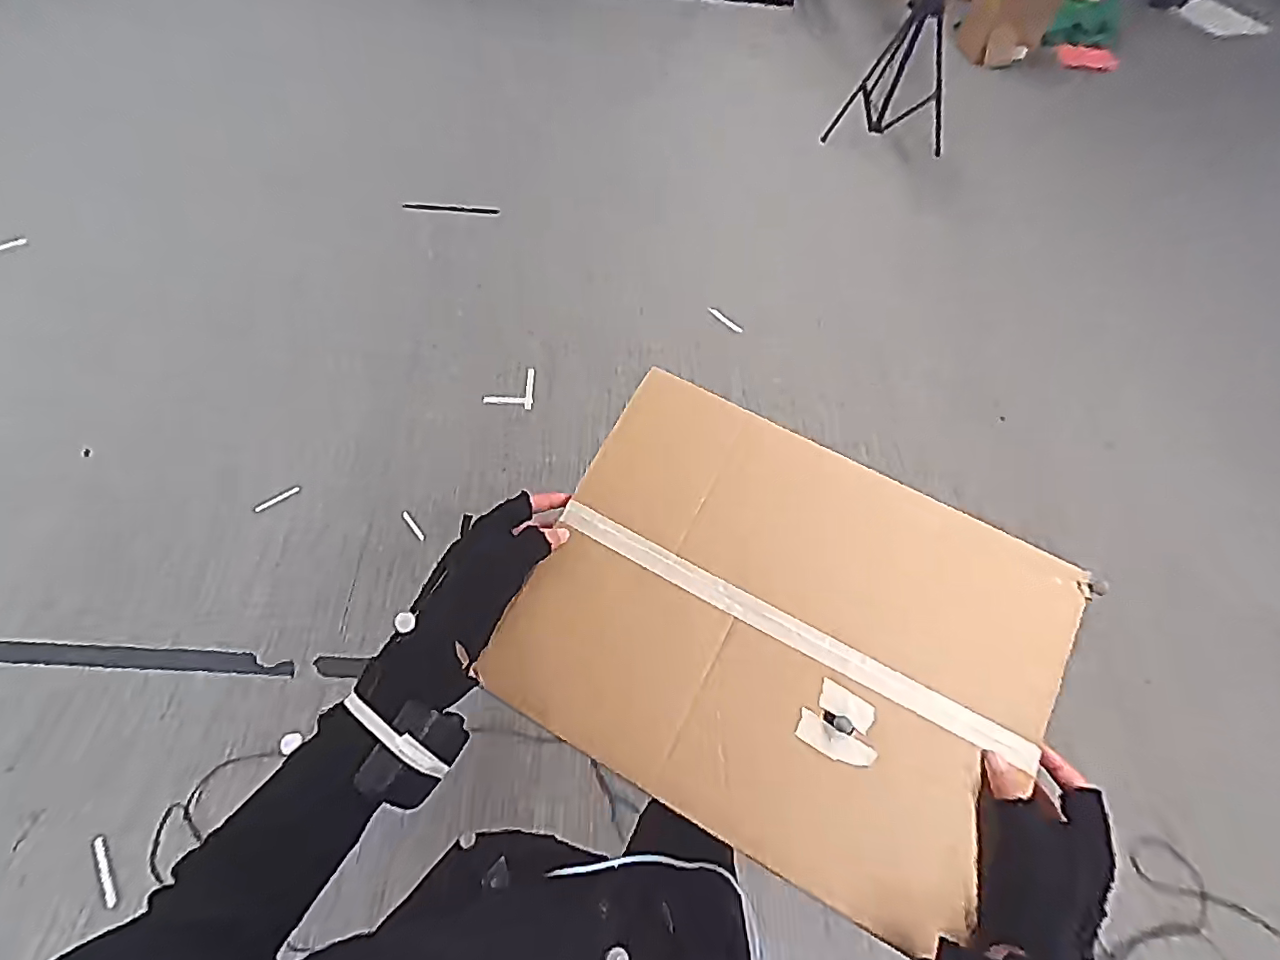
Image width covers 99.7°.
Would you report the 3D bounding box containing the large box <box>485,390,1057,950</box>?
[{"bbox_3d":[0.115,0.168,0.596,0.408,0.320,0.320,28,76,9],"label":"large box"}]
